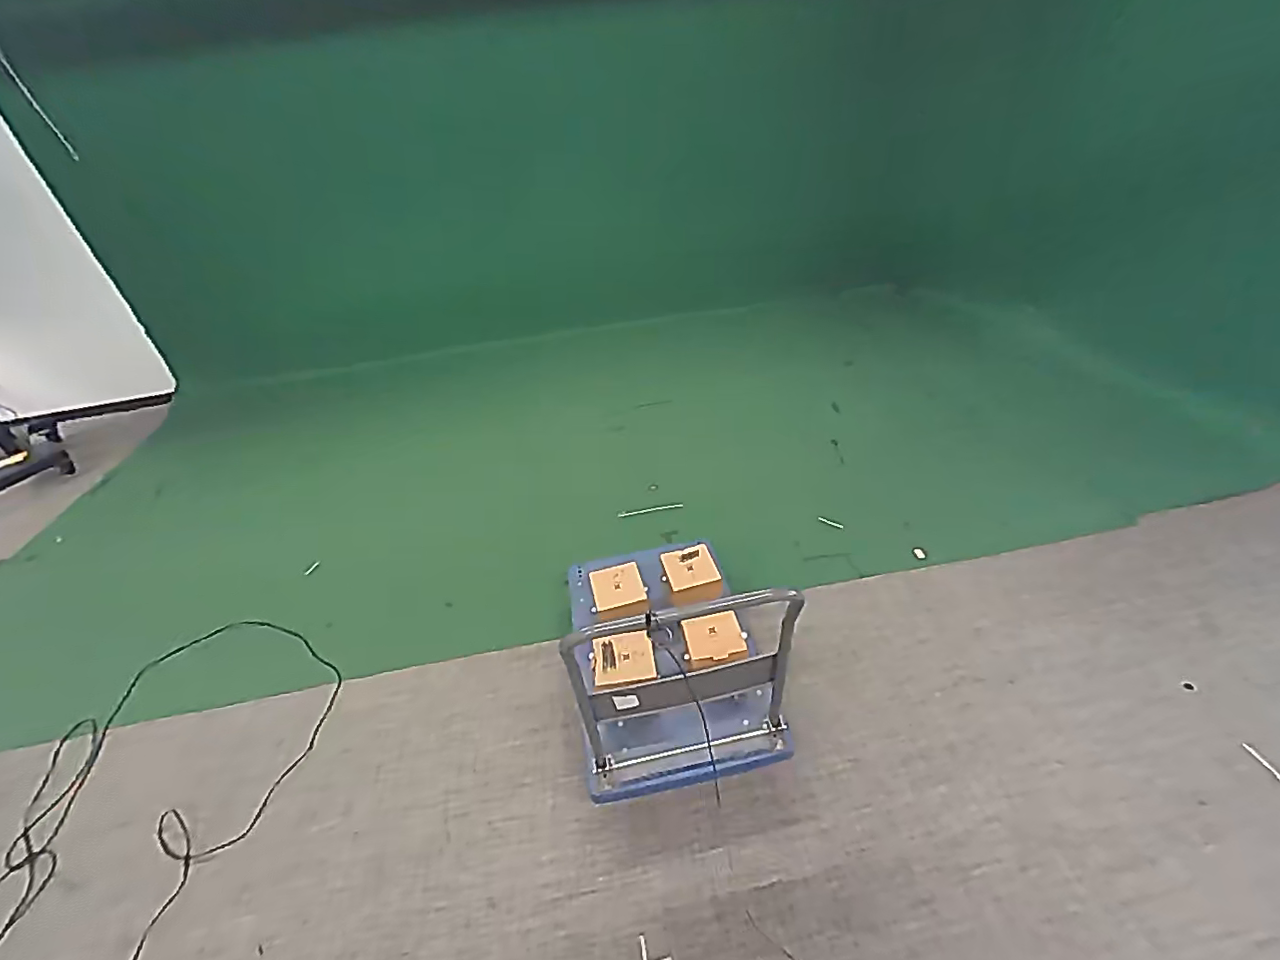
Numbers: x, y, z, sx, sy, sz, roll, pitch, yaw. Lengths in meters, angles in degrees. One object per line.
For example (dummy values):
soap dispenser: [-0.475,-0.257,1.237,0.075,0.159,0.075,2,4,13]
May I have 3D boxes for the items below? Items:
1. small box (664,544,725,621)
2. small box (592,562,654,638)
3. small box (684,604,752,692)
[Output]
small box: [0.186,0.352,1.852,0.168,0.176,0.179,-14,38,-6]
small box: [-0.056,0.411,1.821,0.168,0.176,0.179,-13,37,-7]
small box: [0.232,0.509,1.637,0.168,0.176,0.179,-10,38,-3]
